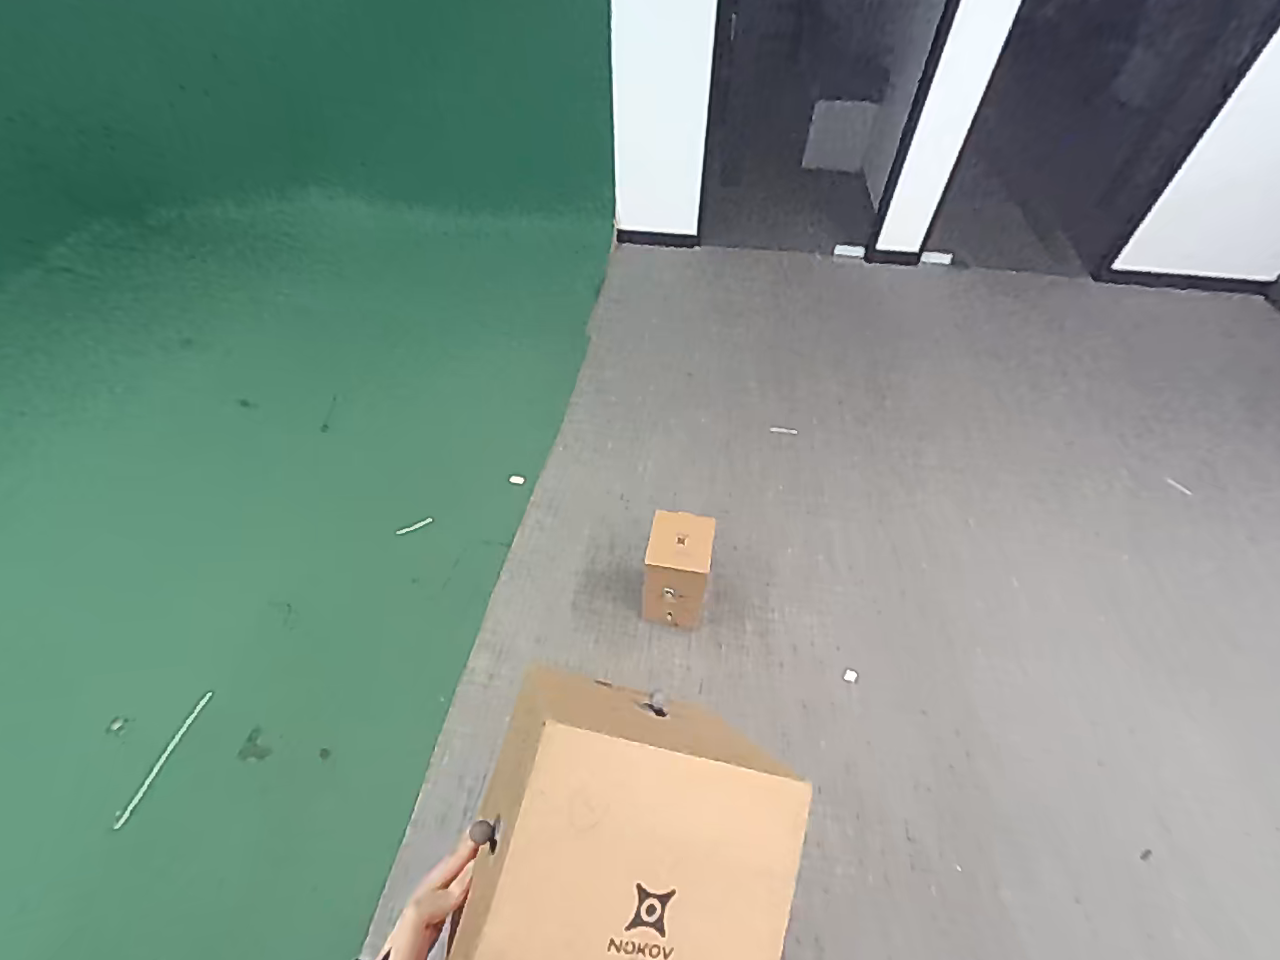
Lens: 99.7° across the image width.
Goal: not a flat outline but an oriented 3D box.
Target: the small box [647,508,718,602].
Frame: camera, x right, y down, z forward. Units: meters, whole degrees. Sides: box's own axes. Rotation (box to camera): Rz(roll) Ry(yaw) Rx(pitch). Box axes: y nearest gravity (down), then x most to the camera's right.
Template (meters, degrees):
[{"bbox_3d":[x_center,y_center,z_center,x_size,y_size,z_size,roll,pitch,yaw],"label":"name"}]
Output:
[{"bbox_3d":[0.112,0.201,1.445,0.168,0.176,0.179,7,51,8],"label":"small box"}]

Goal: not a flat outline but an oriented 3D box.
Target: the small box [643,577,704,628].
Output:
[{"bbox_3d":[0.110,0.306,1.570,0.168,0.176,0.179,11,51,9],"label":"small box"}]
